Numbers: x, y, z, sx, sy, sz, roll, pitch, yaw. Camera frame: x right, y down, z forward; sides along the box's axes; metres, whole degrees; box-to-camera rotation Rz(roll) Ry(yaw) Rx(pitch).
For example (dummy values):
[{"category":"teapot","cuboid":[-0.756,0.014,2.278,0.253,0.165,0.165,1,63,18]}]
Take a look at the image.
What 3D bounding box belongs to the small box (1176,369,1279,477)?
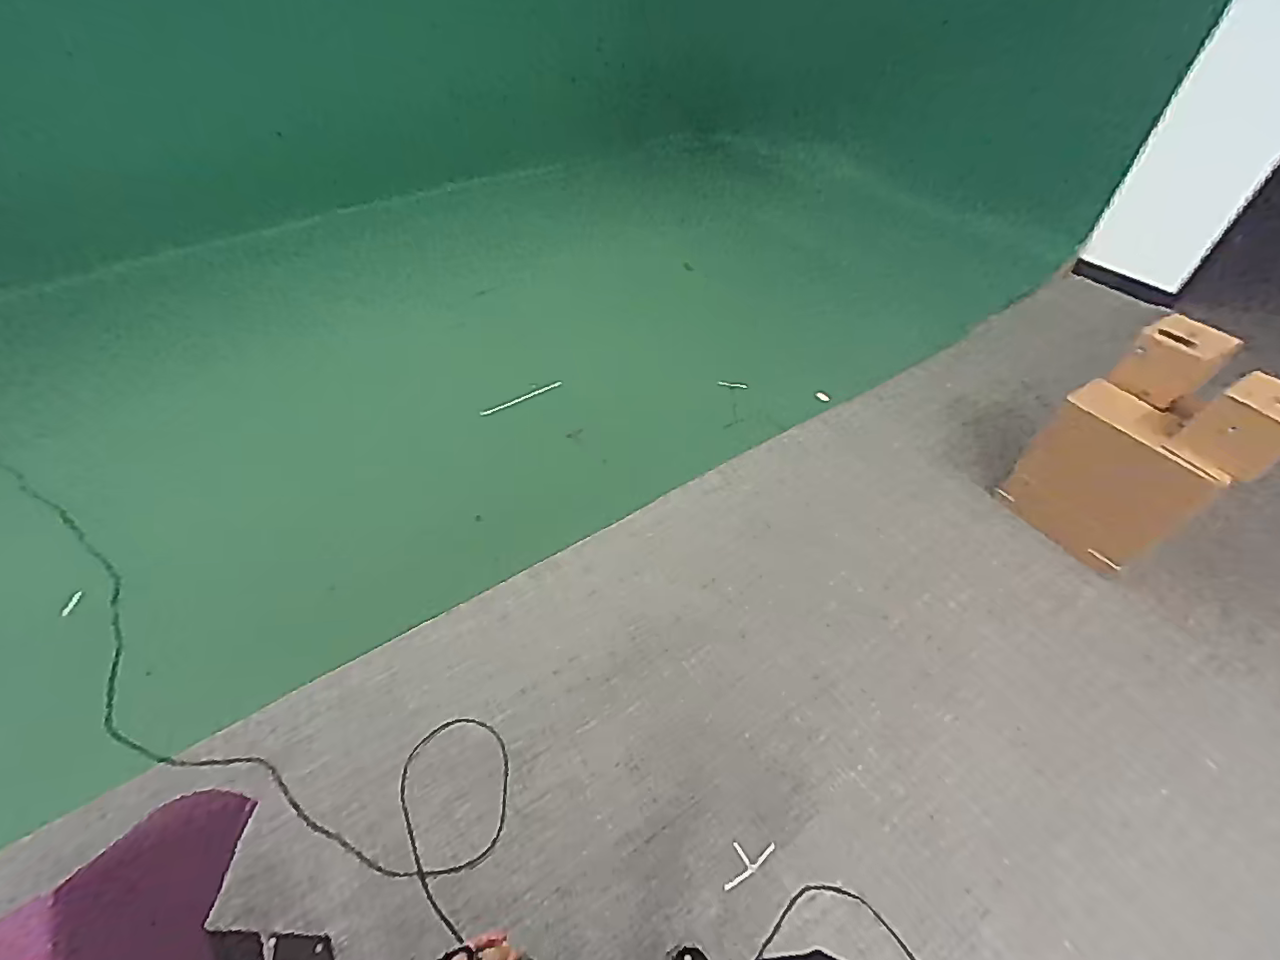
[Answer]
[{"category":"small box","cuboid":[1.508,-0.139,1.336,0.168,0.176,0.179,-25,52,-17]}]
